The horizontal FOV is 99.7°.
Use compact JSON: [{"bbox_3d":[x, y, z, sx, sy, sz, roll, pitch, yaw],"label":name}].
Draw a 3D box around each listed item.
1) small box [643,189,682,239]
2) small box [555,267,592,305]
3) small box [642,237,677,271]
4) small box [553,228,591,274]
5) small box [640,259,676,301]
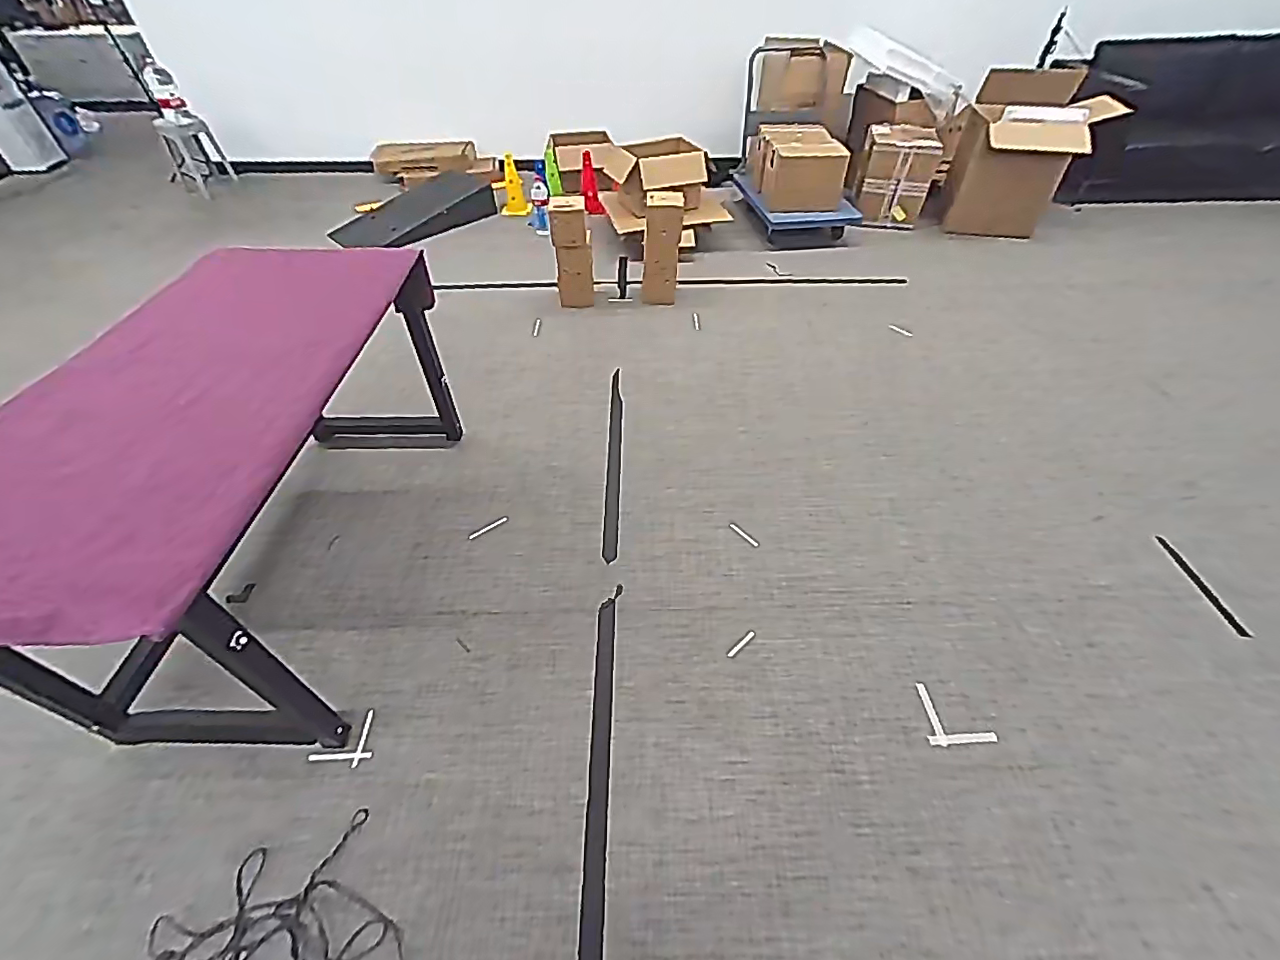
[{"bbox_3d":[0.107,-1.282,2.609,0.179,0.176,0.168,2,48,-1],"label":"small box"},{"bbox_3d":[-0.343,-1.029,2.819,0.179,0.176,0.168,-3,46,-2],"label":"small box"},{"bbox_3d":[0.094,-1.177,2.734,0.168,0.176,0.179,0,48,-2],"label":"small box"},{"bbox_3d":[-0.337,-1.142,2.699,0.168,0.176,0.179,0,45,-1],"label":"small box"},{"bbox_3d":[0.093,-1.057,2.844,0.179,0.176,0.168,3,47,2],"label":"small box"}]
